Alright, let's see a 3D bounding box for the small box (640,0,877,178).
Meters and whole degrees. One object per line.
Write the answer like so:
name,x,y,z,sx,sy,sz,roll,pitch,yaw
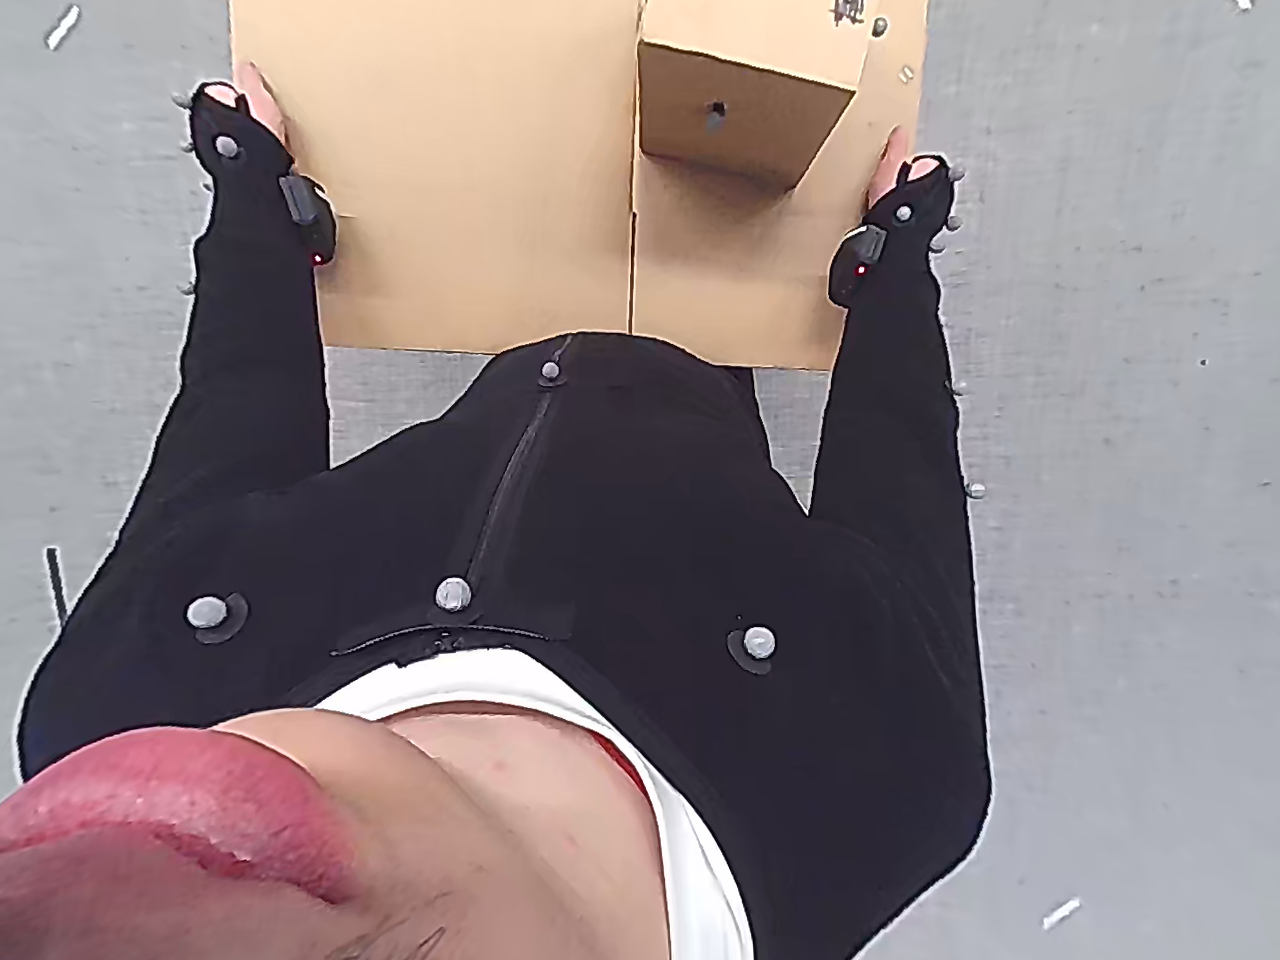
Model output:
small box,0.104,-0.407,0.495,0.179,0.176,0.168,12,96,0
